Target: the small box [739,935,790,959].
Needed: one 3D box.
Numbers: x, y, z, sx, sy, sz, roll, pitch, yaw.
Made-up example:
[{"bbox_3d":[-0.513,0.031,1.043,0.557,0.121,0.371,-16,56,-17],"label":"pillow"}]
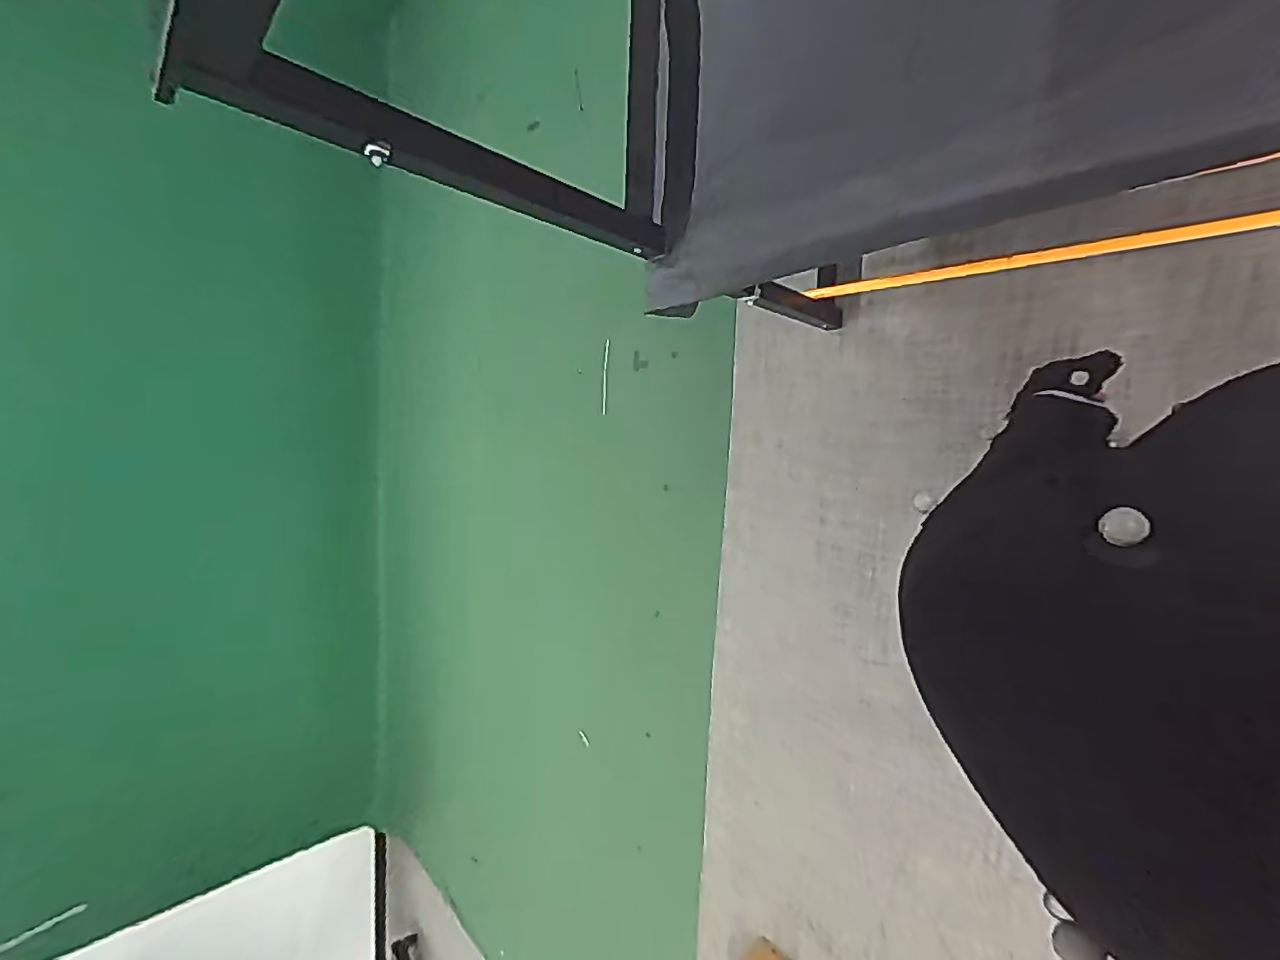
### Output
[{"bbox_3d":[0.394,1.596,1.690,0.168,0.176,0.179,11,99,45],"label":"small box"}]
